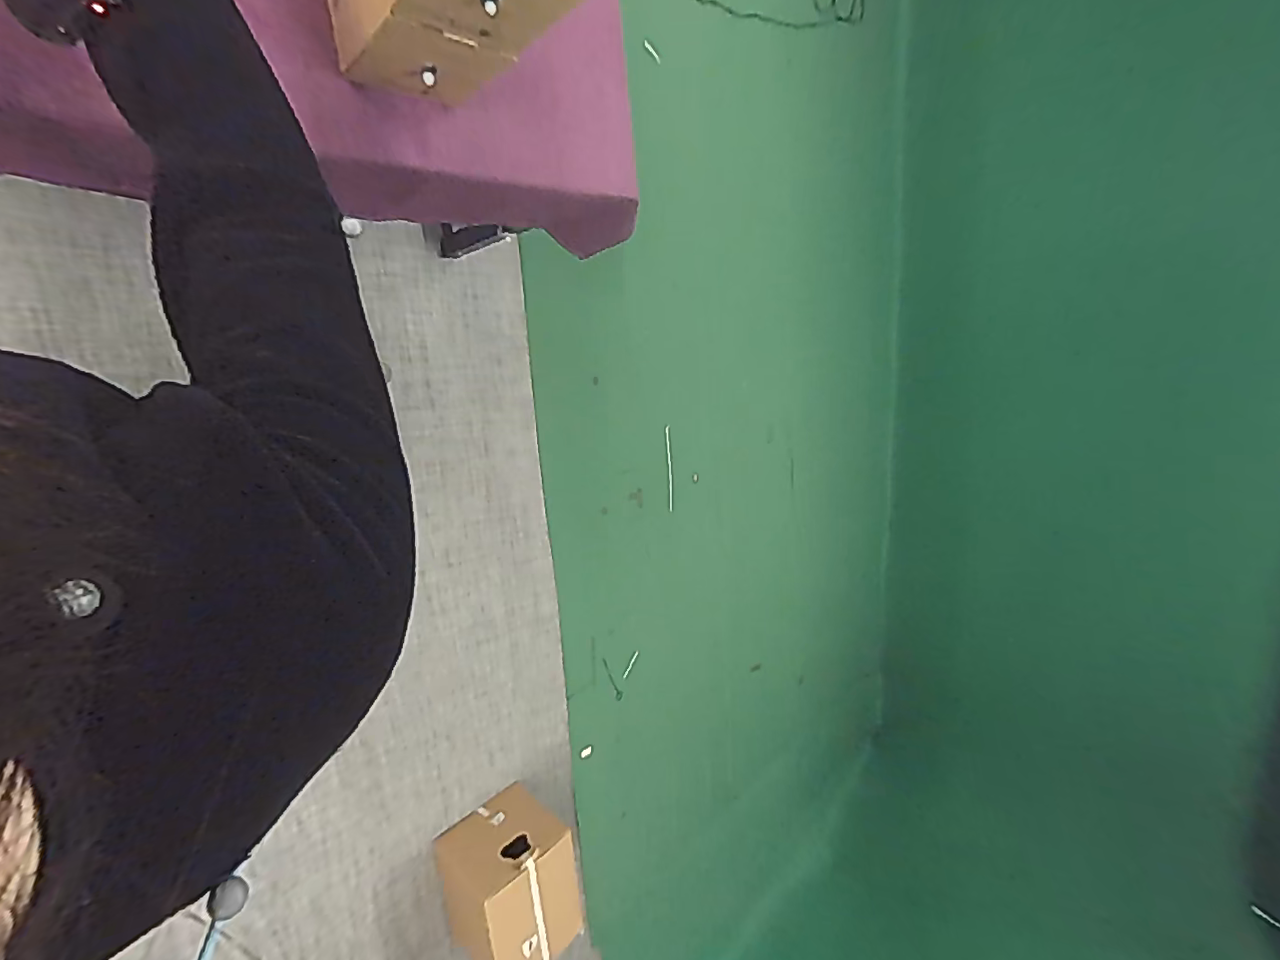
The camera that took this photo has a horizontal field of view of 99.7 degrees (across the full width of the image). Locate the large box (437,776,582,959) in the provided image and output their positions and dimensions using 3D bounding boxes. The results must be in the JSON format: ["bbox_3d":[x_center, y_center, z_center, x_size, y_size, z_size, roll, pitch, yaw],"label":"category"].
[{"bbox_3d":[-0.424,1.289,1.773,0.320,0.320,0.408,-18,110,-43],"label":"large box"}]

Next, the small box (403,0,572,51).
[{"bbox_3d":[-0.164,-0.596,0.561,0.168,0.176,0.179,-19,109,-43],"label":"small box"}]

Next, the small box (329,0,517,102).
[{"bbox_3d":[-0.278,-0.614,0.679,0.168,0.176,0.179,-18,109,-43],"label":"small box"}]
